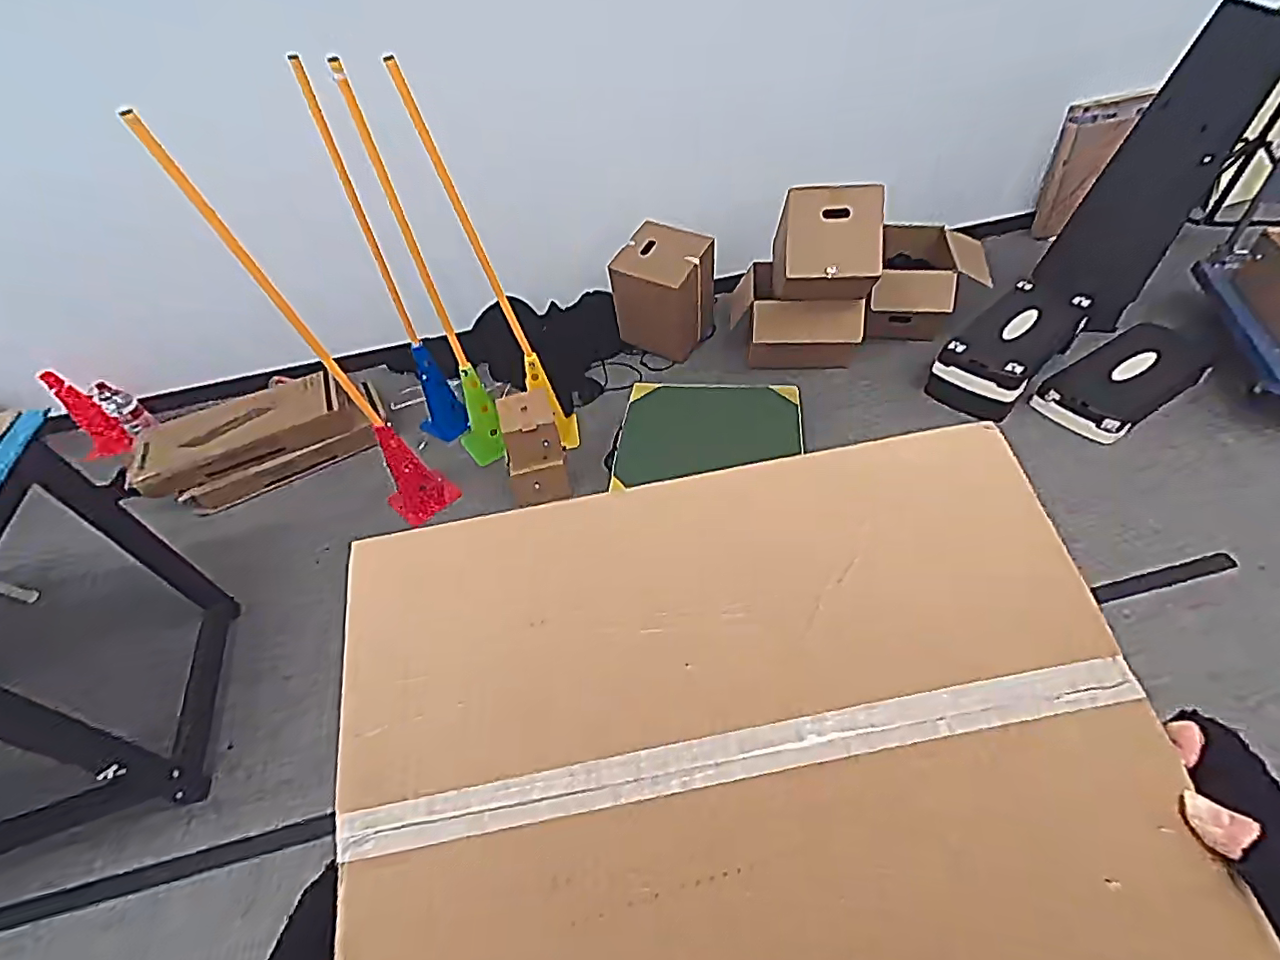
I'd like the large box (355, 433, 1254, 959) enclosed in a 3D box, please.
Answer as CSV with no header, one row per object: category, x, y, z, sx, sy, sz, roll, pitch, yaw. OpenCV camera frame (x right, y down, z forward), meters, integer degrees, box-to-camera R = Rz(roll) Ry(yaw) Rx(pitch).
large box,0.059,0.207,0.417,0.408,0.320,0.320,-11,65,-1
